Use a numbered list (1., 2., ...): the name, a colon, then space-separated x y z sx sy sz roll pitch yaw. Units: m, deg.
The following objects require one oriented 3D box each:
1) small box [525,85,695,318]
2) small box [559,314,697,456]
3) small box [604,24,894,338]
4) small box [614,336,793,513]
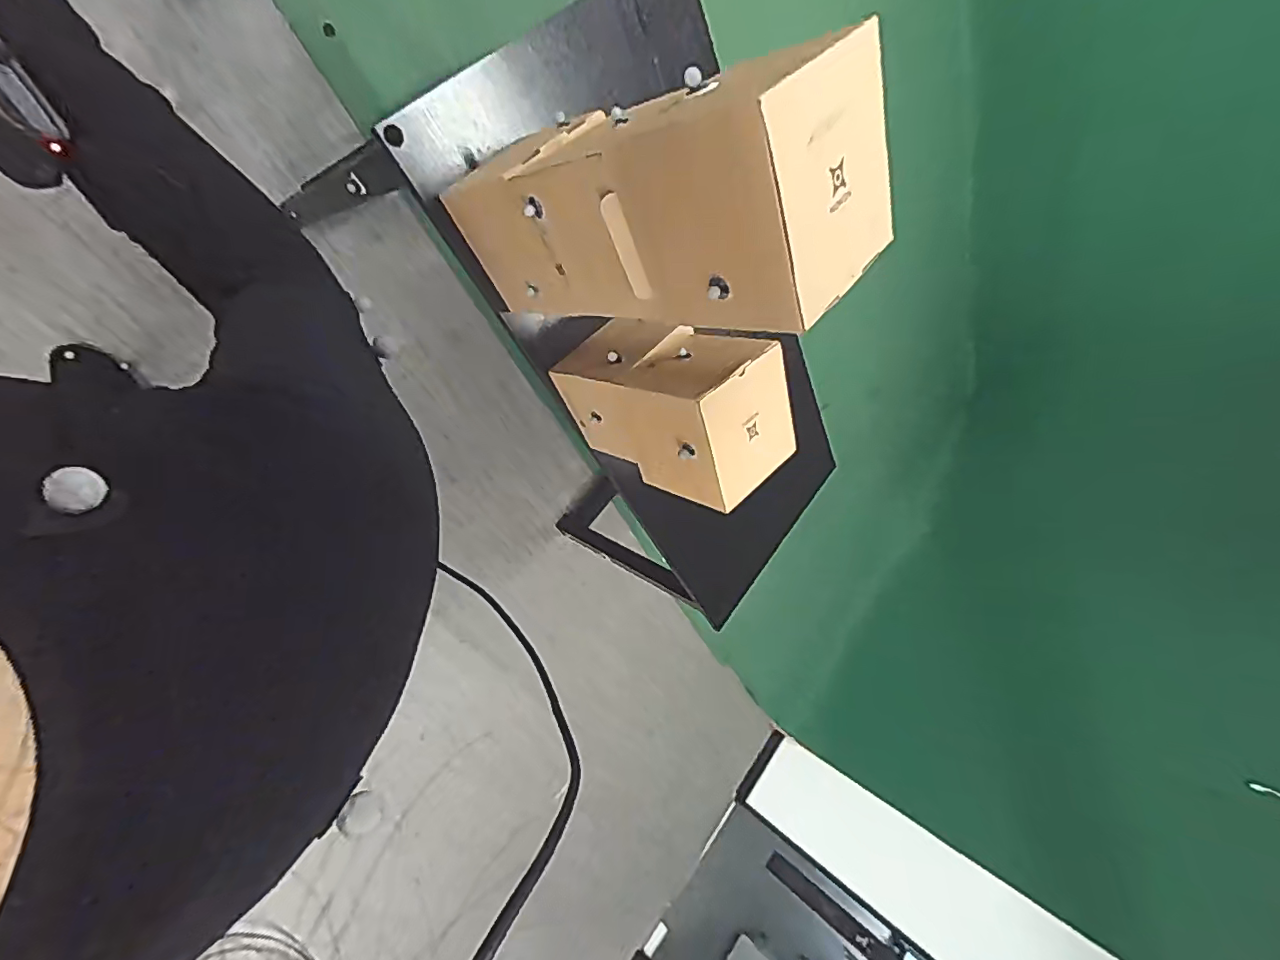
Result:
1. small box: -0.002 -0.298 0.597 0.179 0.176 0.168 -46 132 -22
2. small box: -0.008 -0.152 0.878 0.179 0.176 0.168 -45 131 -22
3. small box: 0.100 -0.250 0.480 0.168 0.176 0.179 -46 131 -23
4. small box: 0.091 -0.087 0.764 0.168 0.176 0.179 -38 127 -27
